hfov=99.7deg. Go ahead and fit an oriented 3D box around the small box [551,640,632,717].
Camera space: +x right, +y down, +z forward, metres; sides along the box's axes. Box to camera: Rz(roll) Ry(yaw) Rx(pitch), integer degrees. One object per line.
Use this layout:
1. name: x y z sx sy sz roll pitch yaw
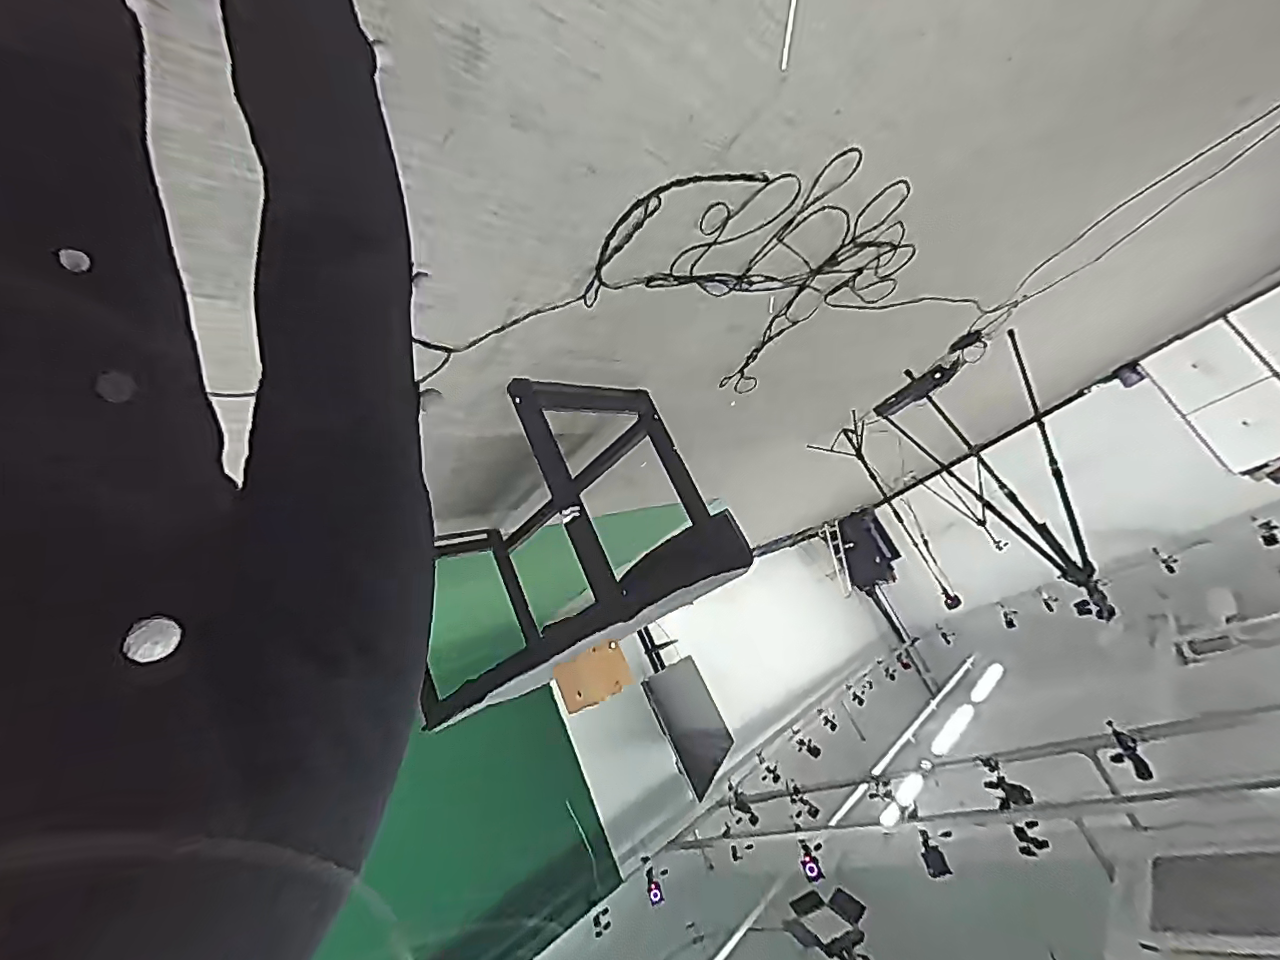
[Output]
1. small box: -0.162 0.633 1.746 0.168 0.176 0.179 -7 156 -46
